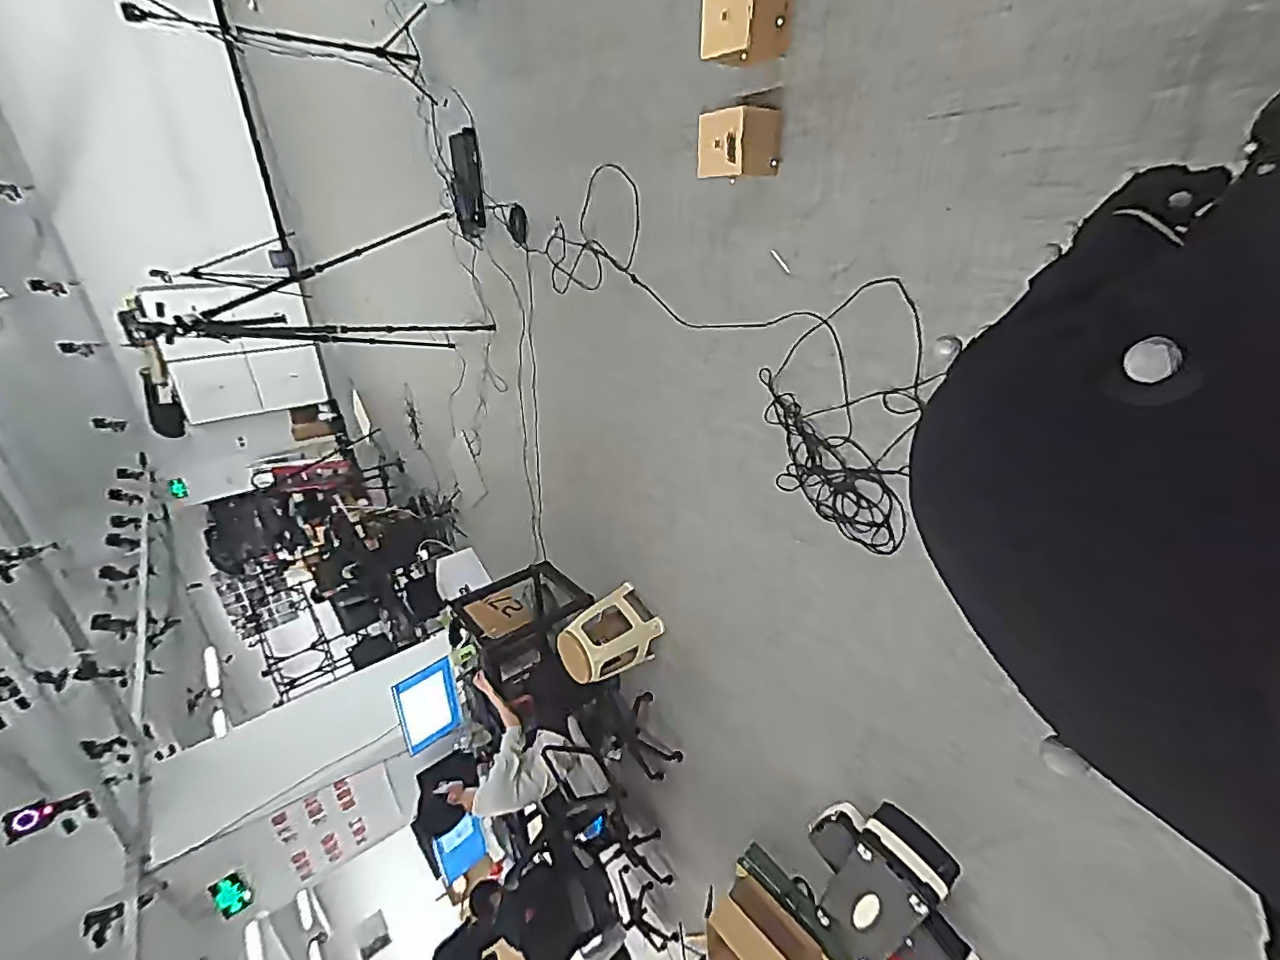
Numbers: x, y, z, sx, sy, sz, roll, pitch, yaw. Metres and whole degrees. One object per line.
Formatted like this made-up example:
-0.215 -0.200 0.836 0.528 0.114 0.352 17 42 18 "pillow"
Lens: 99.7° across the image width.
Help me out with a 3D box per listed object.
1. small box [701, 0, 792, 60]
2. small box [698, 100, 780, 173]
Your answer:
0.288 -1.268 1.469 0.179 0.176 0.168 28 128 43 "small box"
0.292 -1.006 1.595 0.179 0.176 0.168 28 128 45 "small box"
